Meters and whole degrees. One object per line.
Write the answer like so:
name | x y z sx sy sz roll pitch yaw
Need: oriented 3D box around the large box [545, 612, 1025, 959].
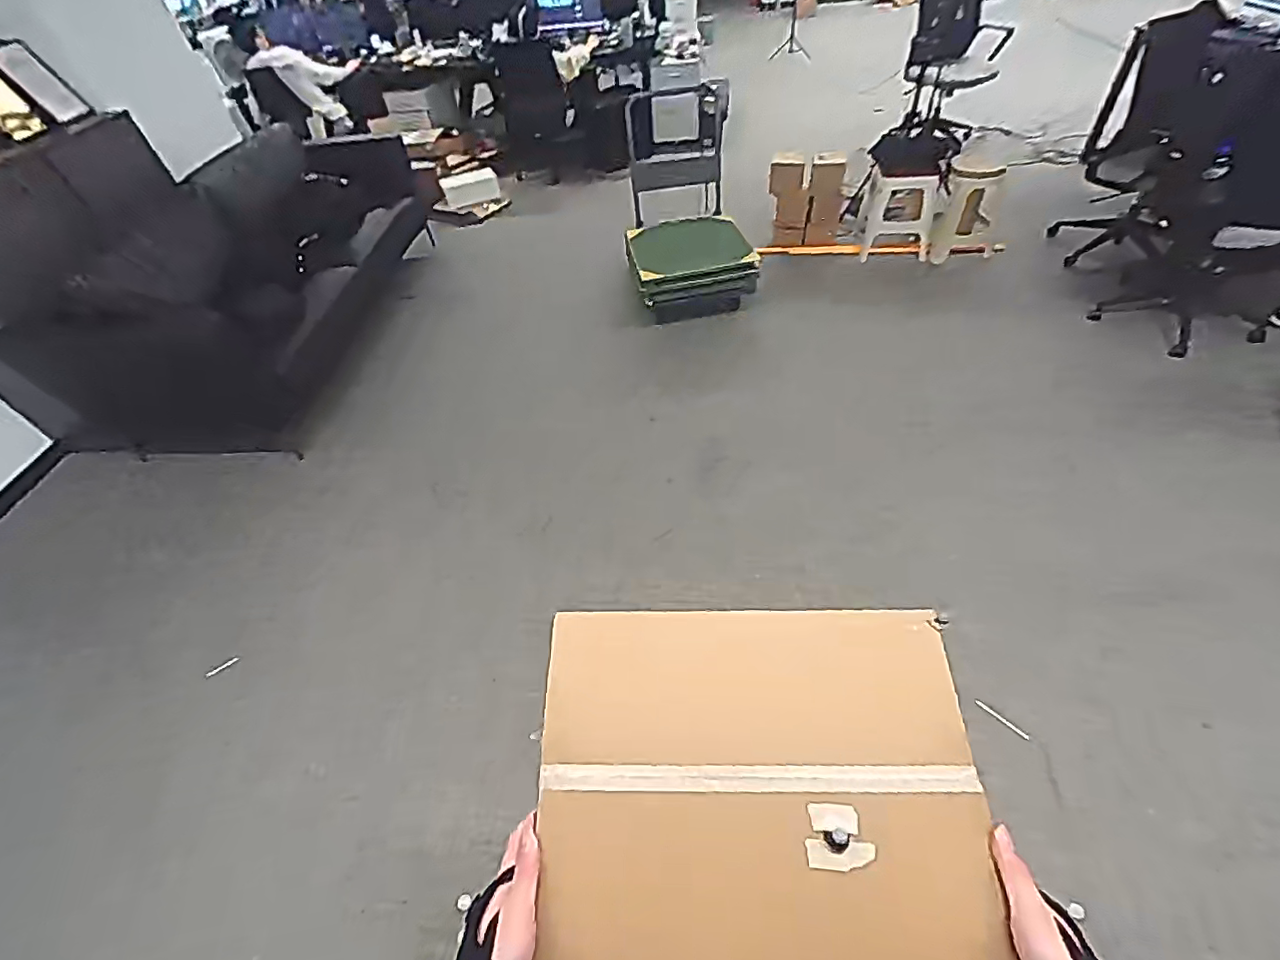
large box | 0.119 0.355 0.641 0.408 0.320 0.320 -2 61 2
